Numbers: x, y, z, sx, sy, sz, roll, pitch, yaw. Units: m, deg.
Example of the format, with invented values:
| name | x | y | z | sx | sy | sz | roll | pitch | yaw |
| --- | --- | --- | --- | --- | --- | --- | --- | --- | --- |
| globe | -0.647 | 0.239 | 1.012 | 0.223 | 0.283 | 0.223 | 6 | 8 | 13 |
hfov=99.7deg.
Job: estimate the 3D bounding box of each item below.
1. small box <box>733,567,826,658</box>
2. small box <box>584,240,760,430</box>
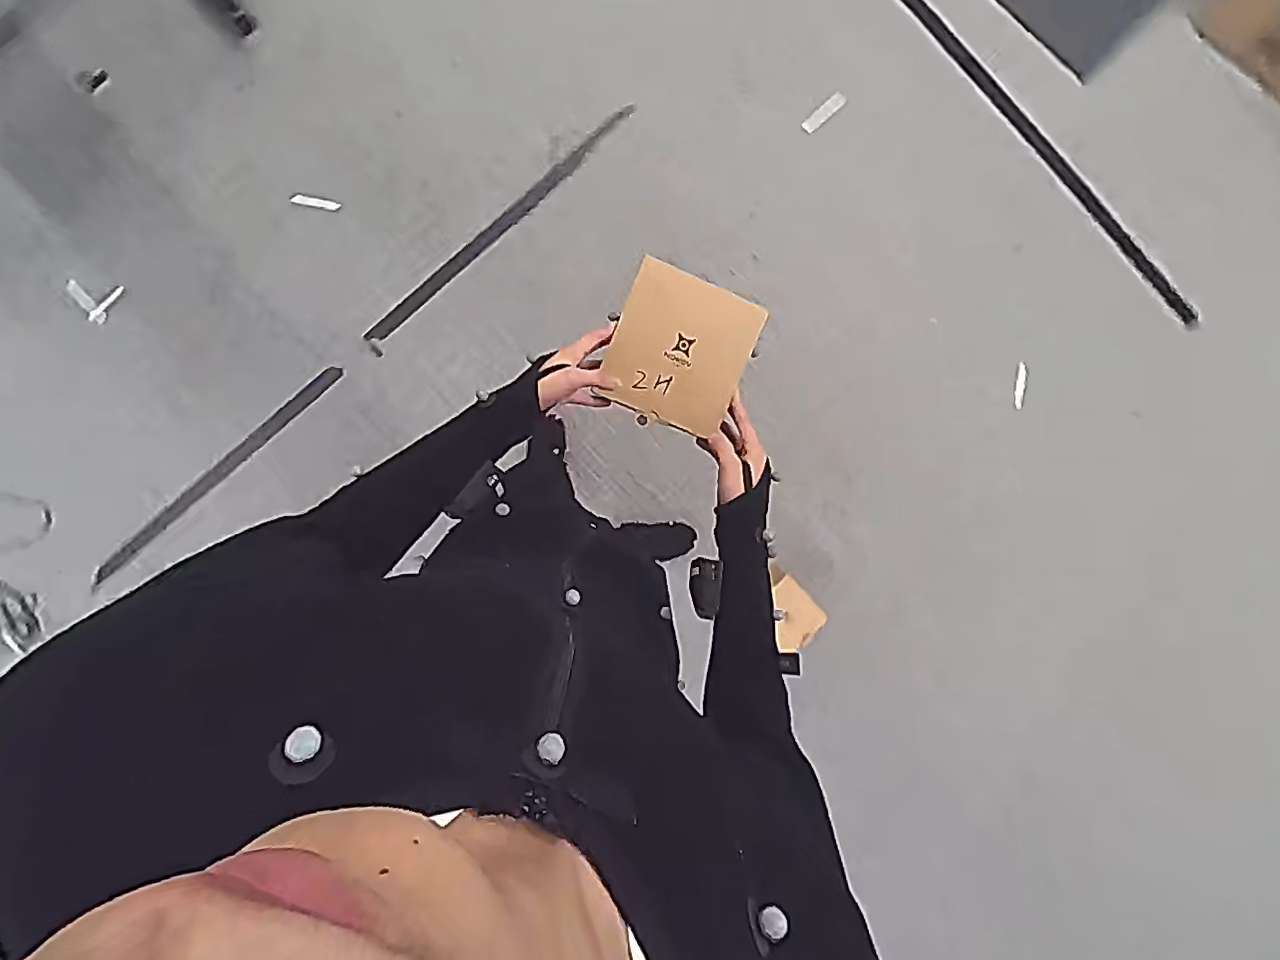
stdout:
| name | x | y | z | sx | sy | sz | roll | pitch | yaw |
| --- | --- | --- | --- | --- | --- | --- | --- | --- | --- |
| small box | 0.397 | 0.373 | 1.562 | 0.168 | 0.176 | 0.179 | -41 | 91 | -1 |
| small box | 0.032 | -0.182 | 0.717 | 0.168 | 0.176 | 0.179 | 21 | 98 | -6 |
